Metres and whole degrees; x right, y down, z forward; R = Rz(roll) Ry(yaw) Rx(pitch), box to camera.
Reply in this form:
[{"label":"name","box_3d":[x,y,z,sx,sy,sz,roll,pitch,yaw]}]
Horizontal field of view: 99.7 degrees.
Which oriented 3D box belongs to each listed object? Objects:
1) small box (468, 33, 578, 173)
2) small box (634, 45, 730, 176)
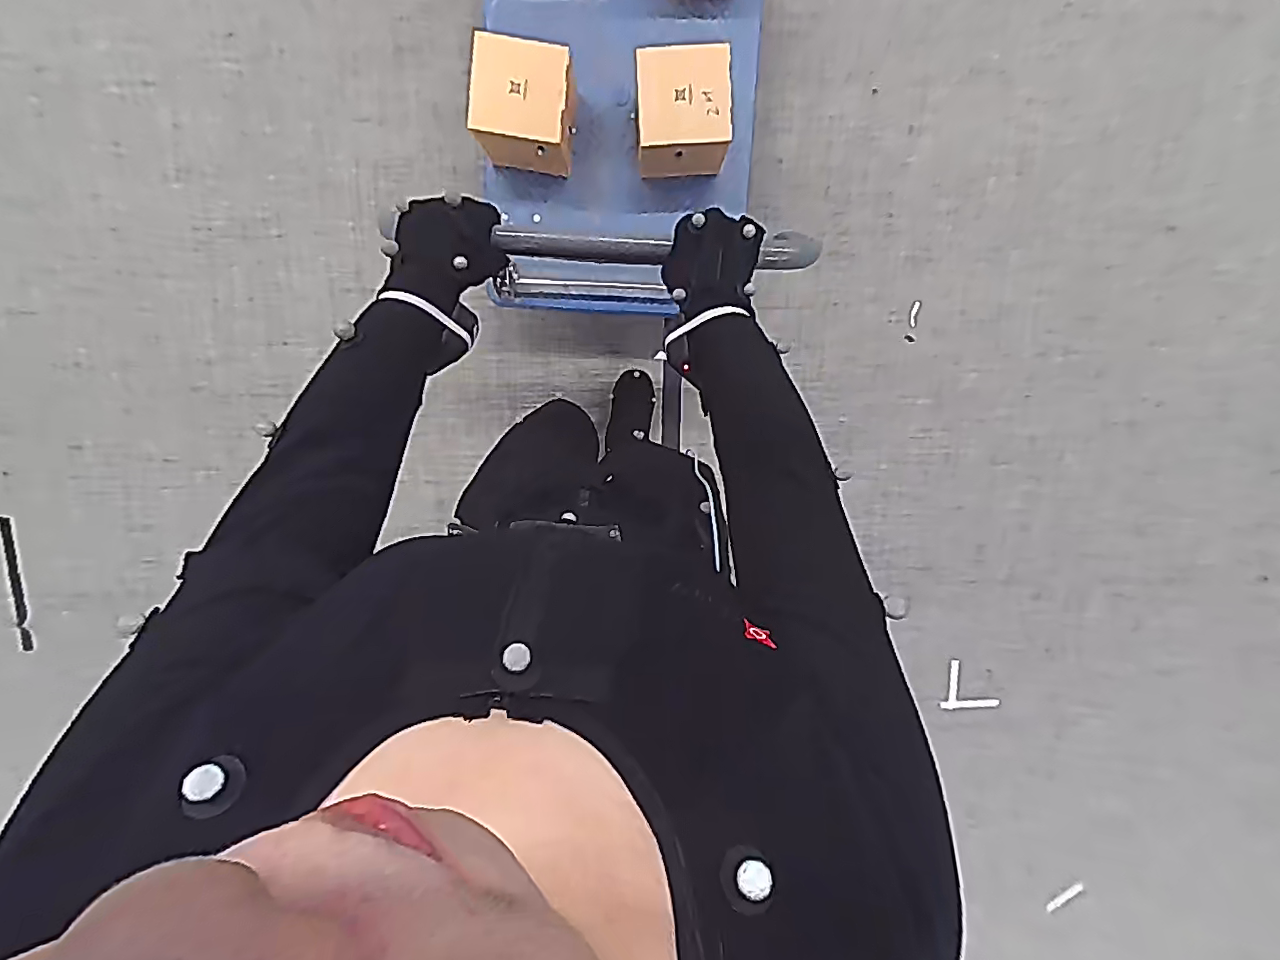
[{"label":"small box","box_3d":[-0.226,-0.737,1.078,0.179,0.176,0.168,7,100,-3]},{"label":"small box","box_3d":[0.081,-0.728,1.083,0.179,0.176,0.168,-3,101,0]}]
